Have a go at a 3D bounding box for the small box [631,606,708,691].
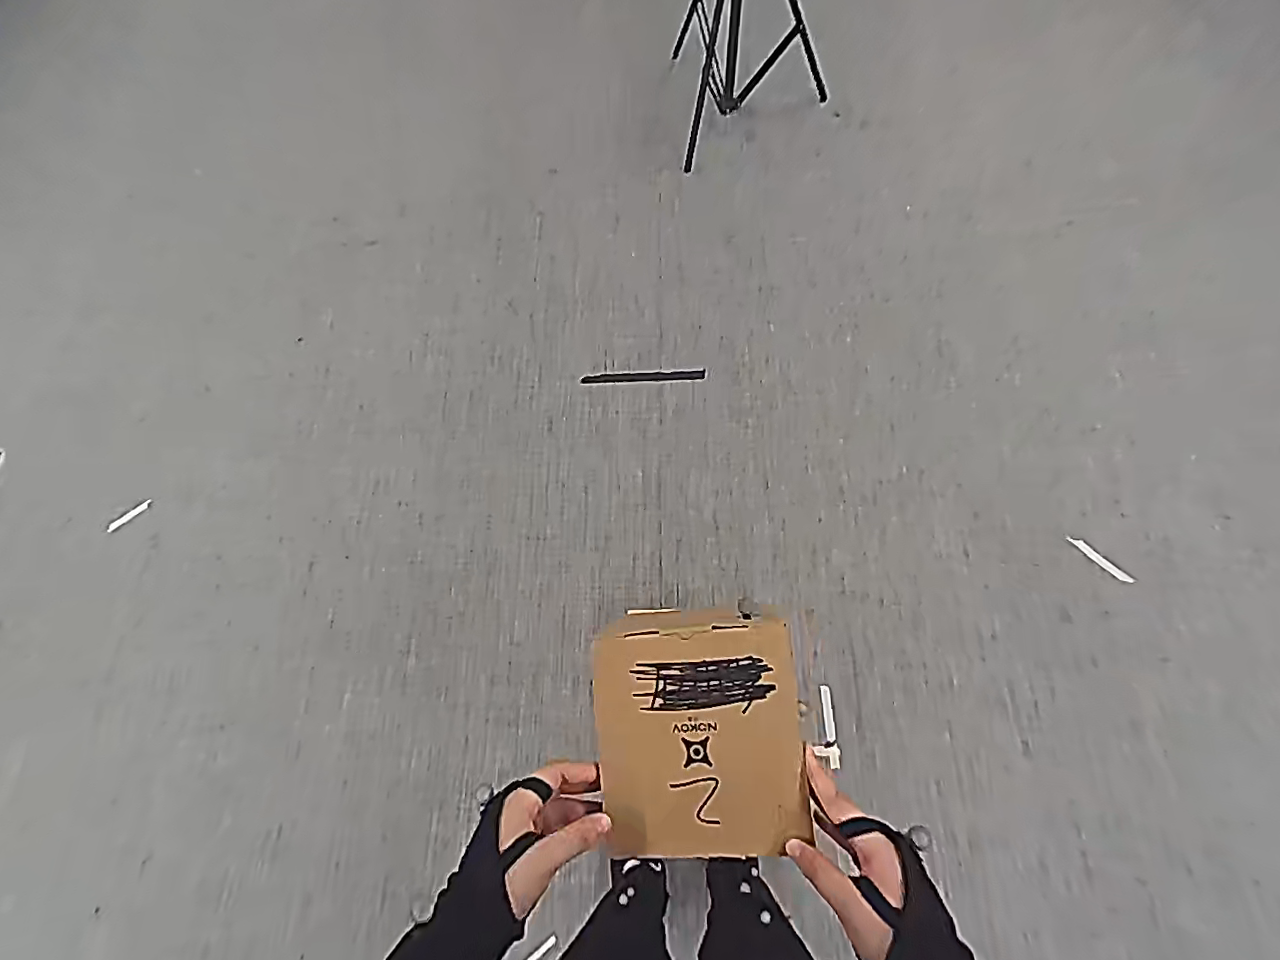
[{"bbox_3d":[0.065,0.391,1.245,0.168,0.176,0.179,-2,70,3],"label":"small box"}]
